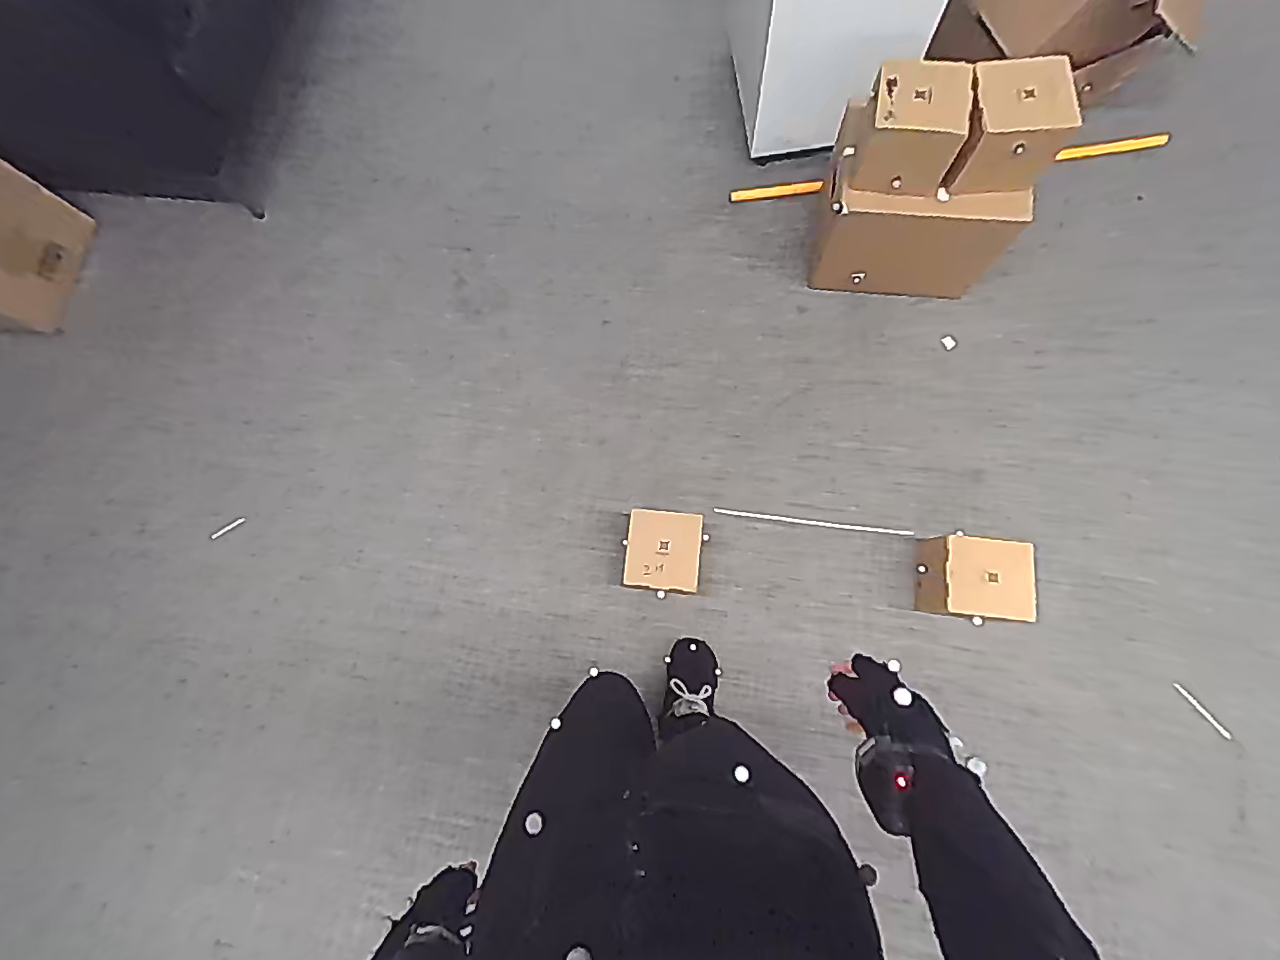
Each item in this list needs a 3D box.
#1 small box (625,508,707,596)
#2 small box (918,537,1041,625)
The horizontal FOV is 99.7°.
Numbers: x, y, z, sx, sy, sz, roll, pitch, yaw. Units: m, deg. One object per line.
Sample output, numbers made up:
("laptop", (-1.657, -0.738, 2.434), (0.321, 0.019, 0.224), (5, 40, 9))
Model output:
("small box", (0.064, 0.173, 1.270), (0.168, 0.176, 0.179), (5, 78, 7))
("small box", (0.744, 0.223, 1.197), (0.179, 0.176, 0.168), (5, 78, 7))
